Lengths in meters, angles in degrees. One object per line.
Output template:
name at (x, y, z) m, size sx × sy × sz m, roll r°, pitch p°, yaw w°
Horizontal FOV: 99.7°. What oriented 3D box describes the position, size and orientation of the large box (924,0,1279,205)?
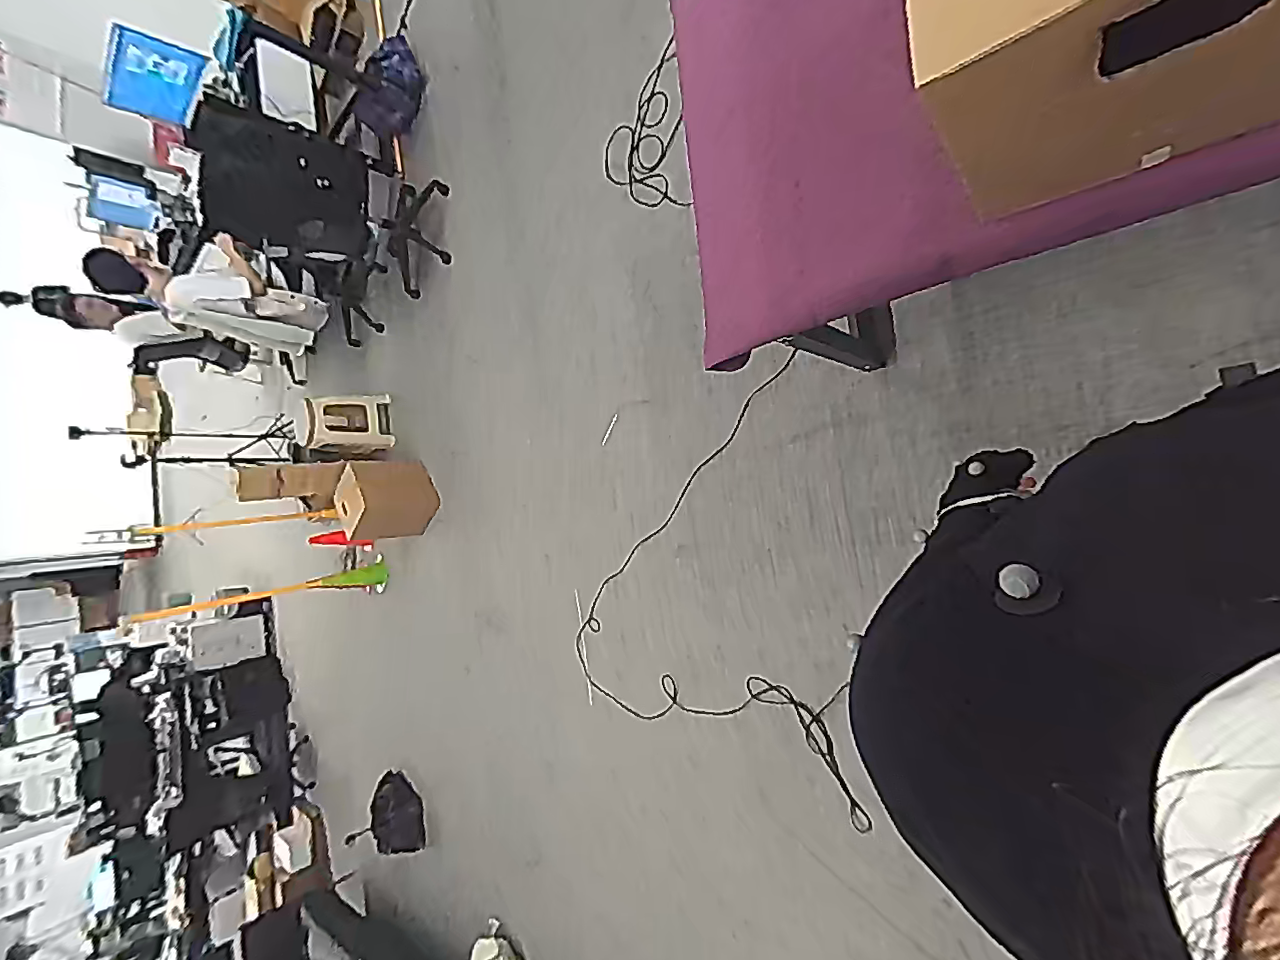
large box at (0.435, -0.539, 0.464) m, size 0.320 × 0.320 × 0.408 m, roll -6°, pitch 88°, yaw 41°
